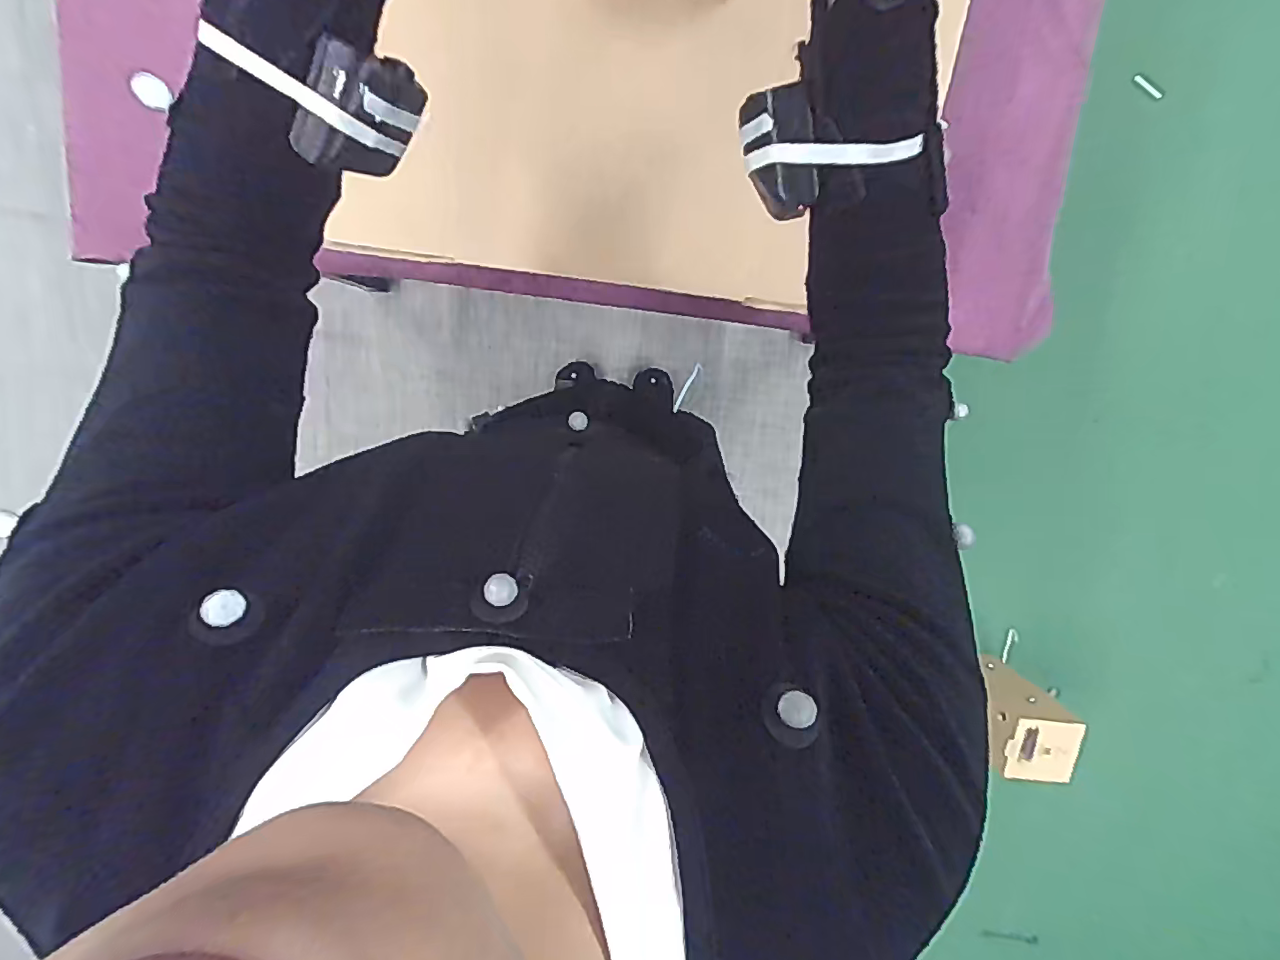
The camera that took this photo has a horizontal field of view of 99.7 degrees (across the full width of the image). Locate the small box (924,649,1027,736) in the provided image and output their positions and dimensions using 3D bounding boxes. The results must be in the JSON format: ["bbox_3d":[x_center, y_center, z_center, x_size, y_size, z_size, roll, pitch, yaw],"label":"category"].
[{"bbox_3d":[0.961,0.609,1.566,0.179,0.176,0.168,7,101,-4],"label":"small box"}]
